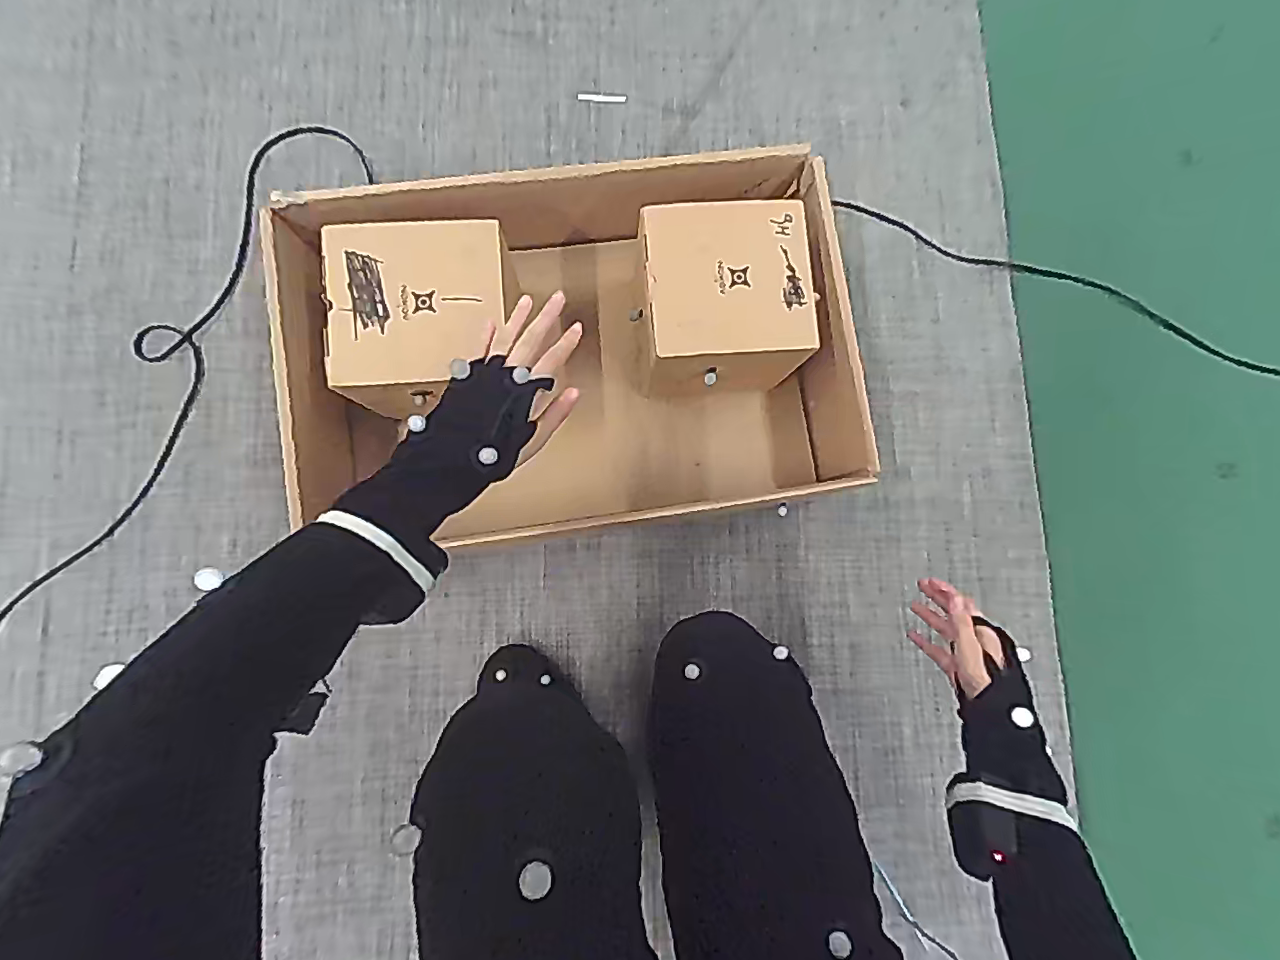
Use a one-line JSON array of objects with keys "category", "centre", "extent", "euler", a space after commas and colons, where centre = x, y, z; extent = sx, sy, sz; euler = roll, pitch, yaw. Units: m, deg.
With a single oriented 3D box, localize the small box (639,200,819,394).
[{"category": "small box", "centre": [0.090, -0.203, 0.640], "extent": [0.179, 0.176, 0.168], "euler": [-3, 84, -4]}]
